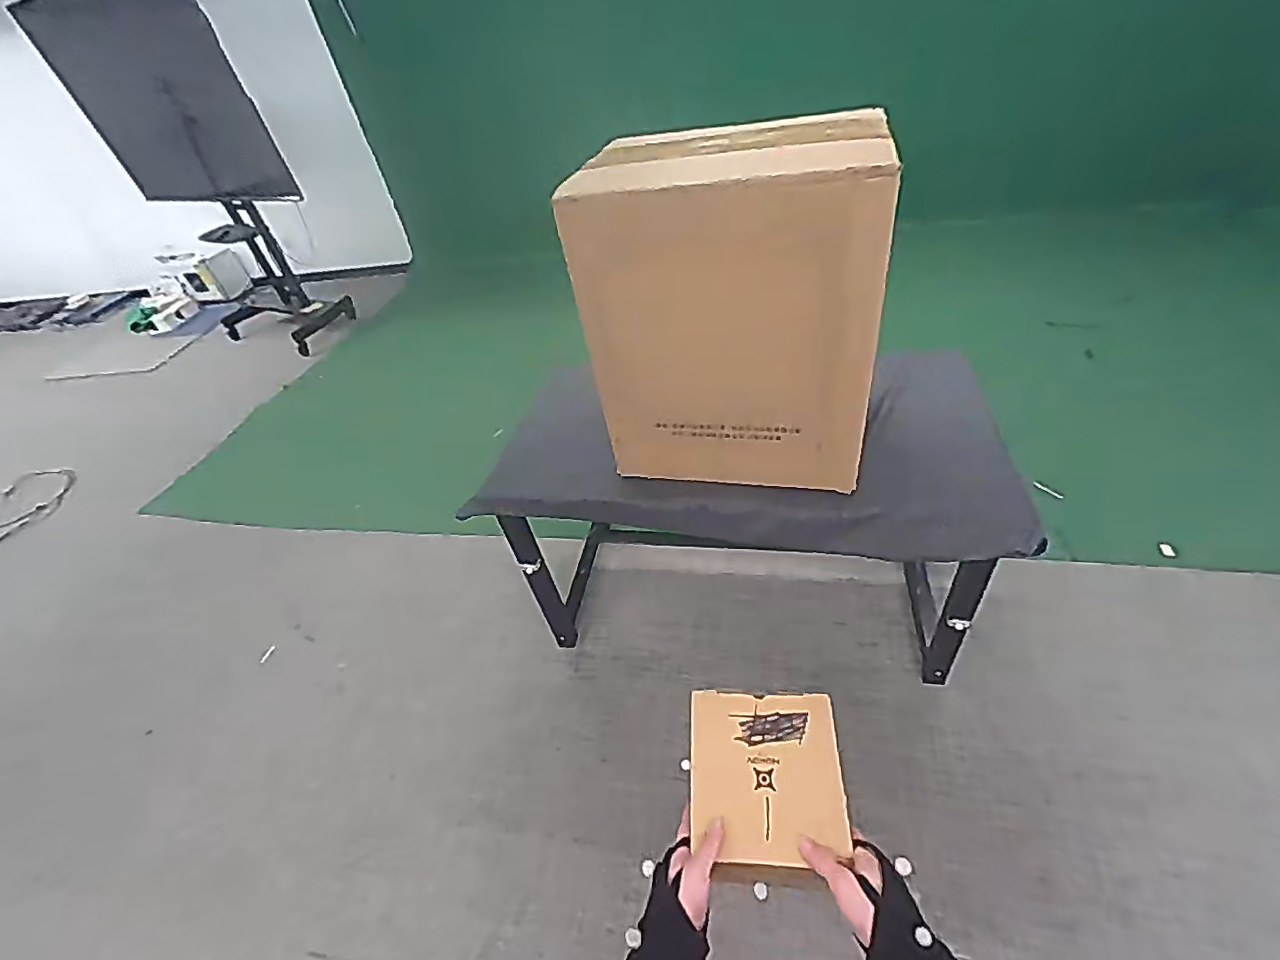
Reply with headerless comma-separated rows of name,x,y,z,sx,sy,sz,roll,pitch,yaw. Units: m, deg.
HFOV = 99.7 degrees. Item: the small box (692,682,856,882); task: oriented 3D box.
small box,0.150,0.368,0.660,0.168,0.176,0.179,-1,48,8
